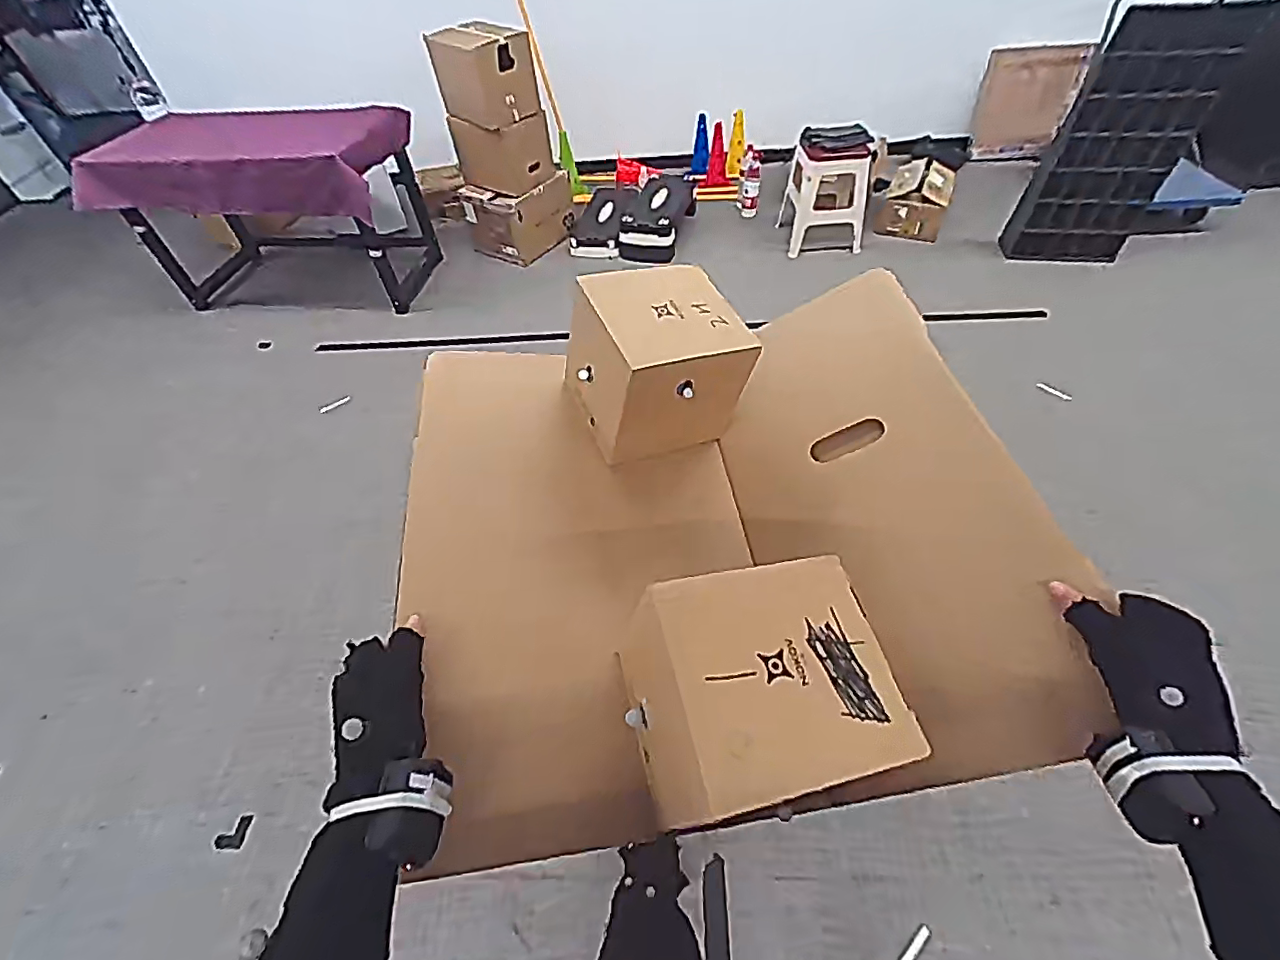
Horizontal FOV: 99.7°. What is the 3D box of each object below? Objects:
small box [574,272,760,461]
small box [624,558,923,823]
[{"bbox_3d":[0.020,-0.145,0.705,0.179,0.176,0.168,-14,59,-23],"label":"small box"},{"bbox_3d":[0.096,0.188,0.480,0.179,0.176,0.168,-6,57,-16],"label":"small box"}]
